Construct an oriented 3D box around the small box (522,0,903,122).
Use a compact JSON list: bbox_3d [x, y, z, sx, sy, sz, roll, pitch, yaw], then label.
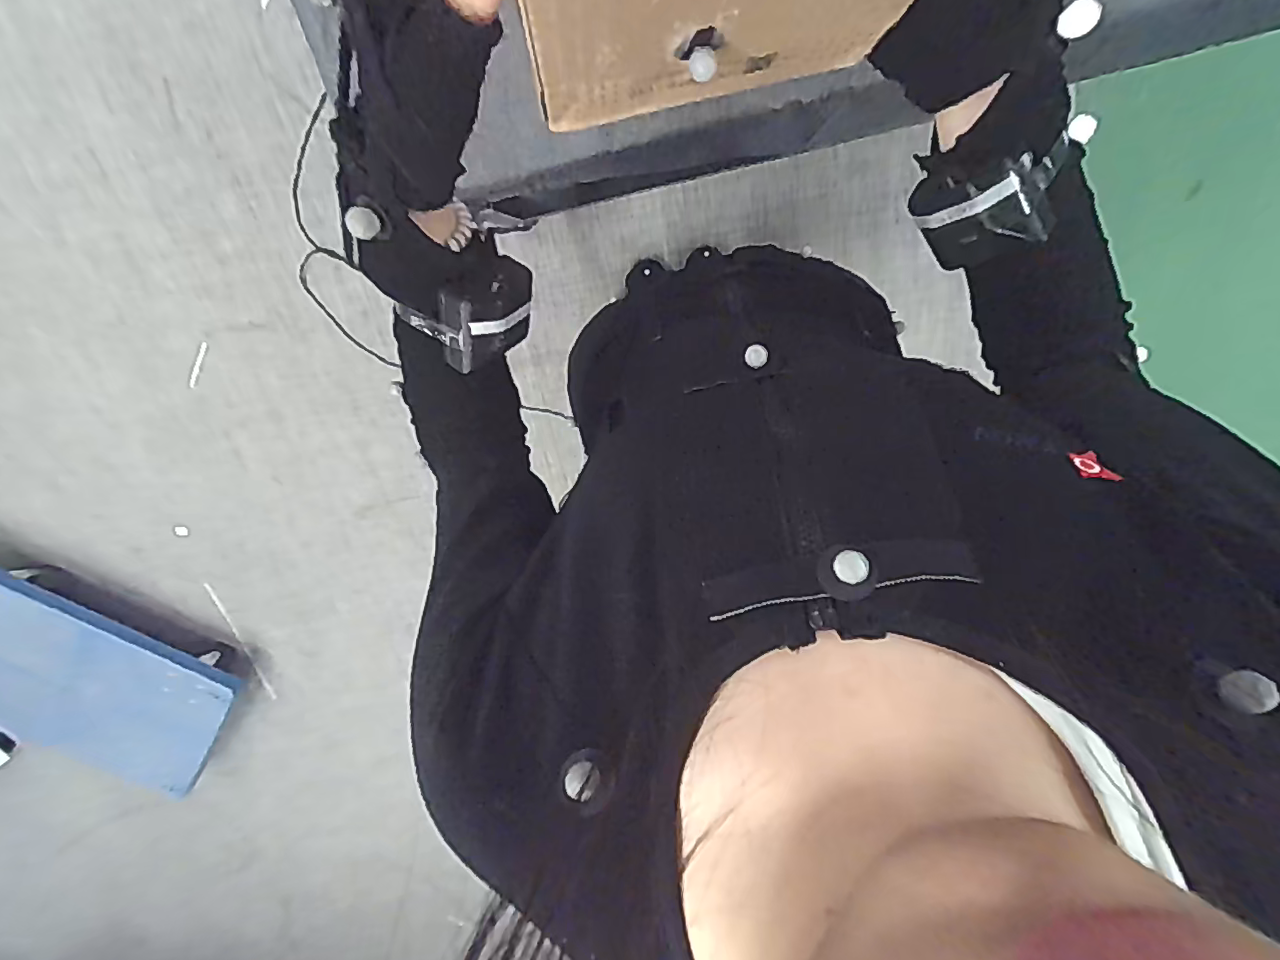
[{"bbox_3d":[0.022,-0.260,0.175,0.168,0.176,0.179,-15,104,-2],"label":"small box"}]
